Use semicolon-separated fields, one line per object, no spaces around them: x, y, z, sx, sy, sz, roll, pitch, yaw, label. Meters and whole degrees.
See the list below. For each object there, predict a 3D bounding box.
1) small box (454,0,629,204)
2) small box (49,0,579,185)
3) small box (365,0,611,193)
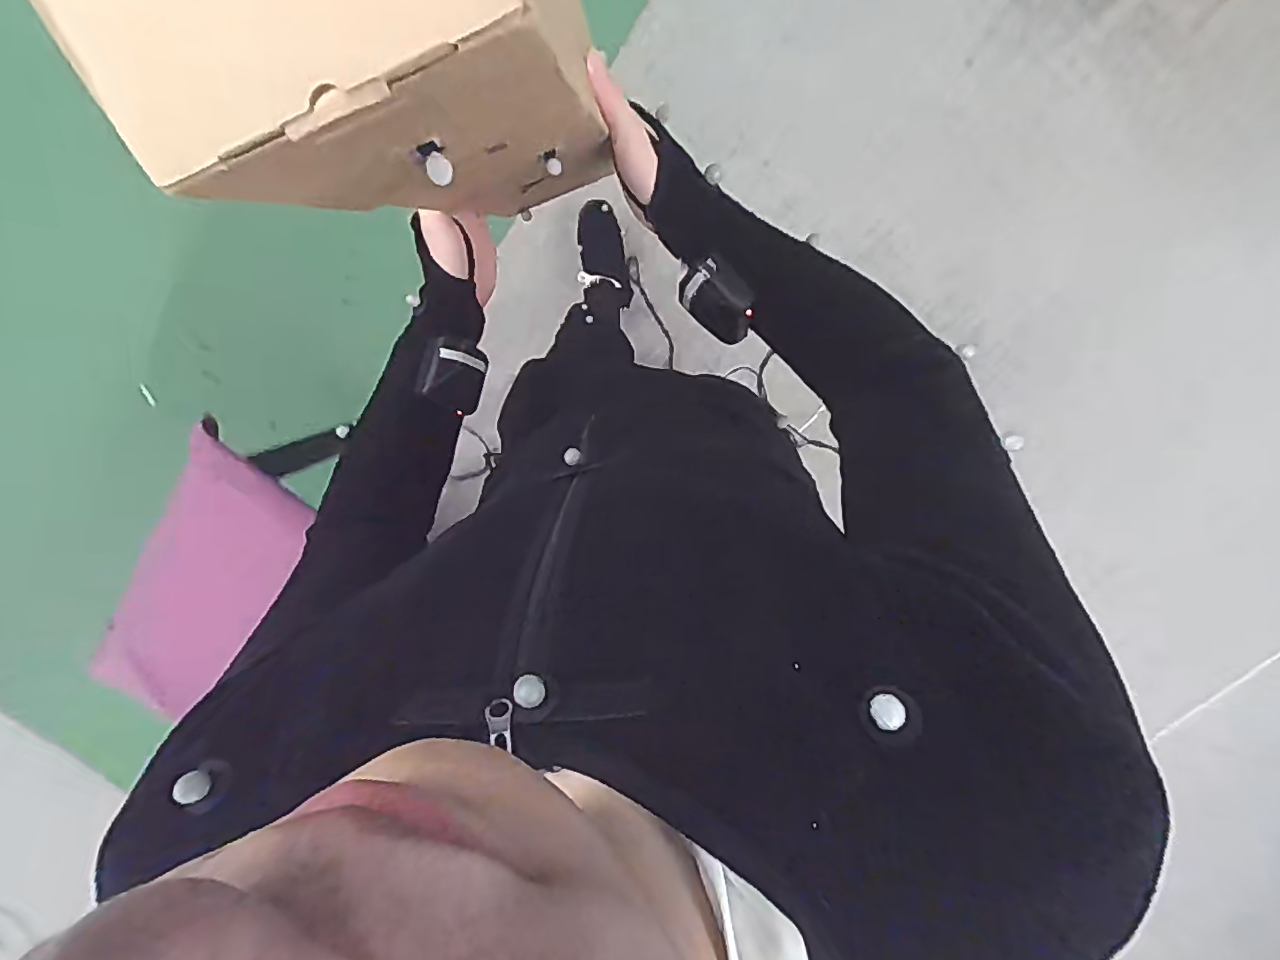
-0.117;-0.391;0.535;0.168;0.176;0.179;-16;111;11;small box
-0.138;-0.251;0.241;0.168;0.176;0.179;-16;113;10;small box
-0.127;-0.323;0.388;0.168;0.176;0.179;-15;112;10;small box
